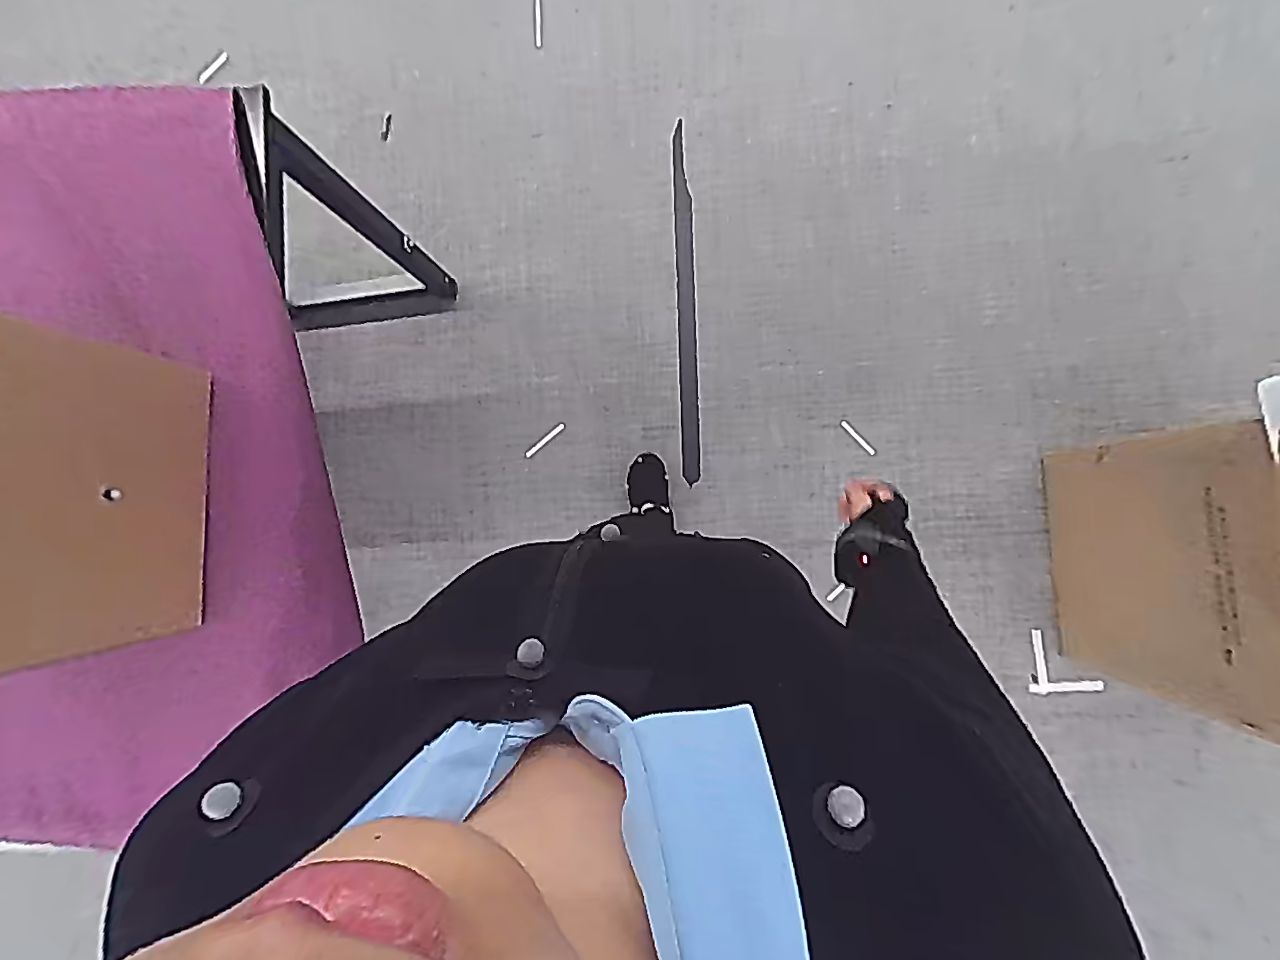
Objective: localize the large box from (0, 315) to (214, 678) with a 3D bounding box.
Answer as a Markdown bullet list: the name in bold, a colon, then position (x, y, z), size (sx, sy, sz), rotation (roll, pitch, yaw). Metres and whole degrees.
- **large box**: position (-0.834, 0.027, 0.714), size (0.320, 0.320, 0.408), rotation (-2, 87, 8)
